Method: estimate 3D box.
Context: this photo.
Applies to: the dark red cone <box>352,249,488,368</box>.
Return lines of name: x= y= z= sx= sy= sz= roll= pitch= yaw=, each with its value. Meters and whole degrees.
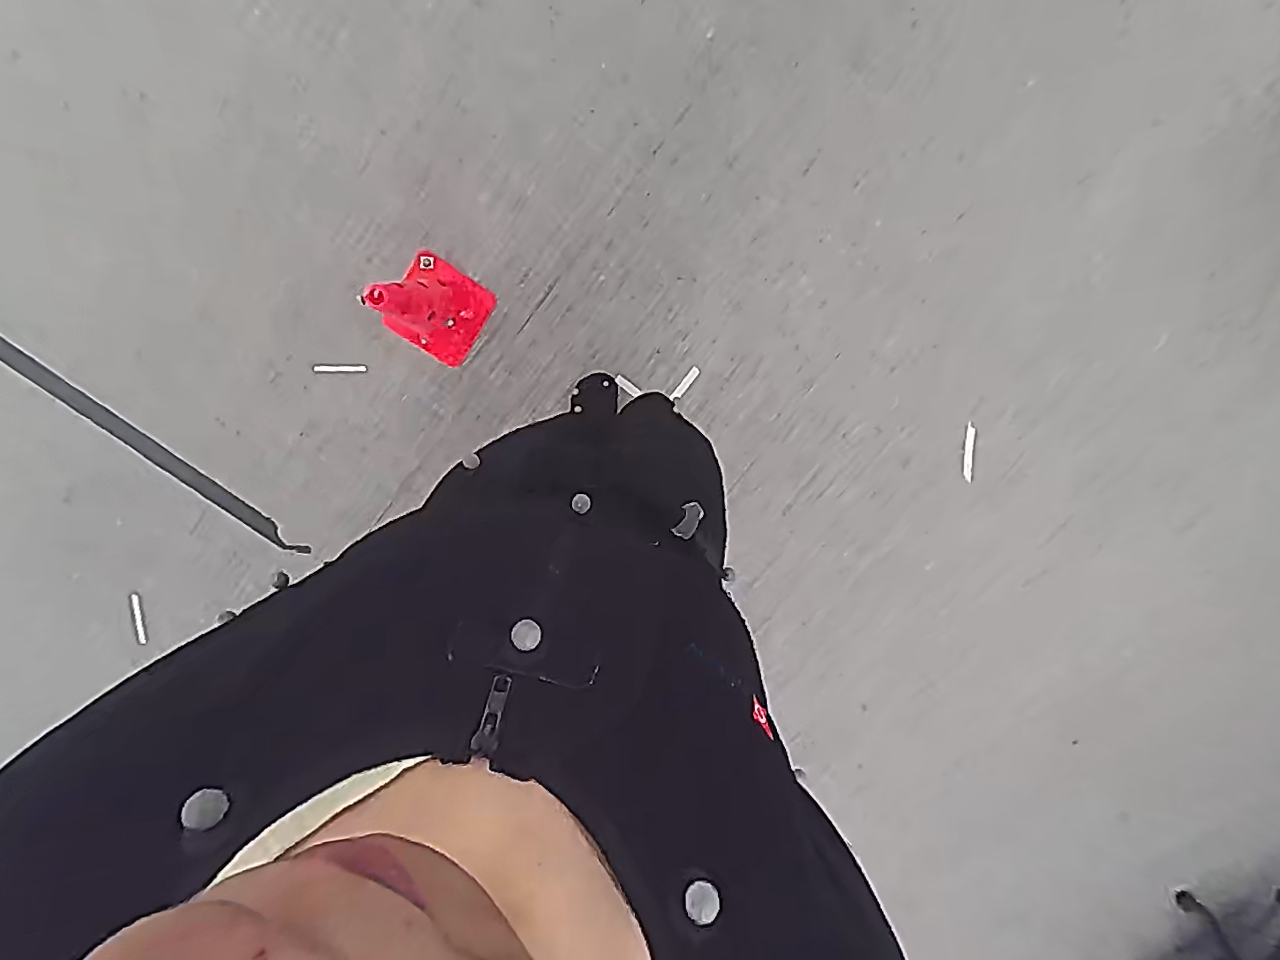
dark red cone: x=-0.453 y=-0.337 z=1.048 sx=0.202 sy=0.394 sz=0.201 roll=31 pitch=101 yaw=-10
